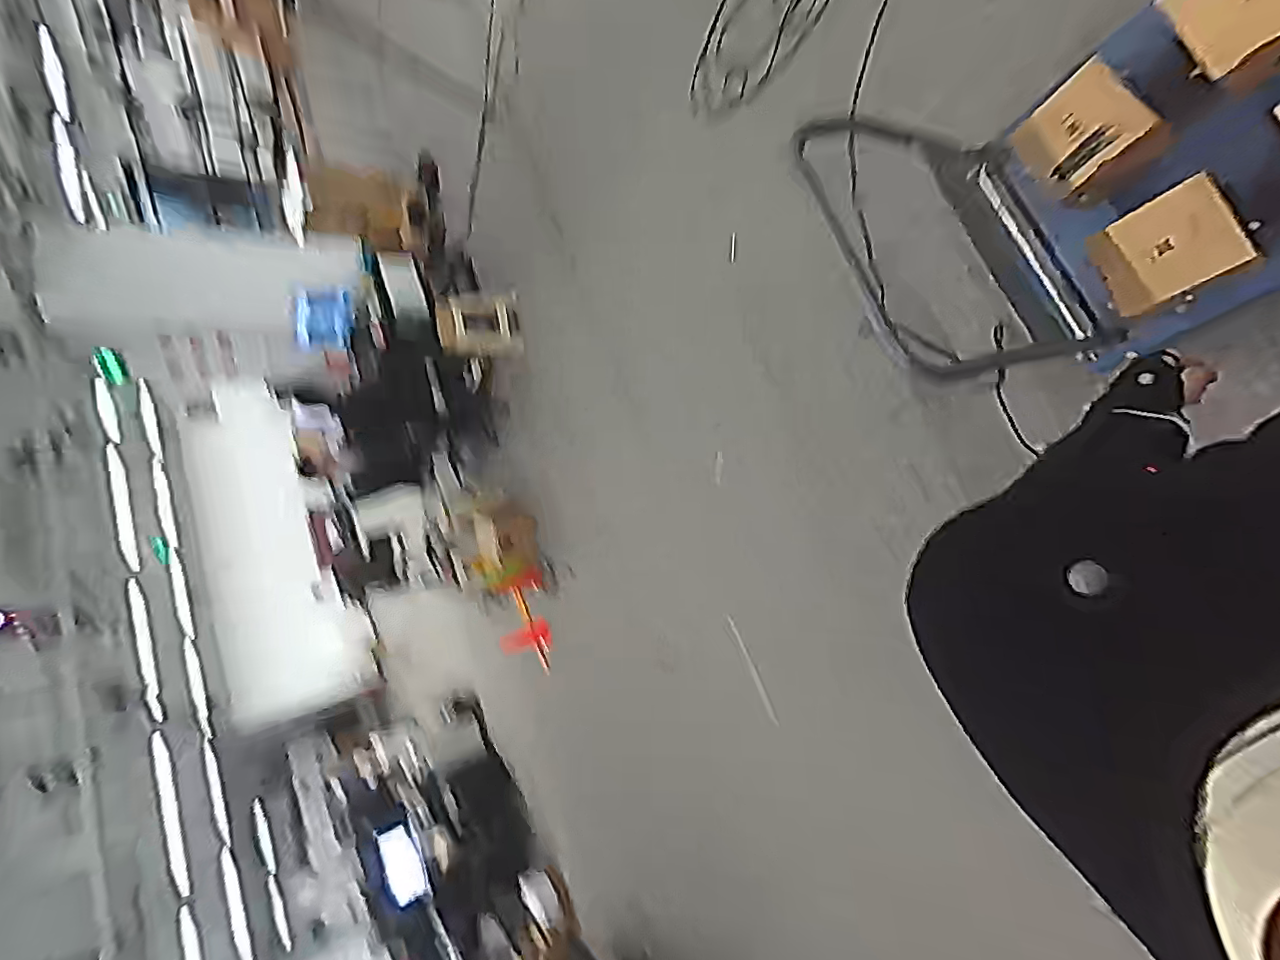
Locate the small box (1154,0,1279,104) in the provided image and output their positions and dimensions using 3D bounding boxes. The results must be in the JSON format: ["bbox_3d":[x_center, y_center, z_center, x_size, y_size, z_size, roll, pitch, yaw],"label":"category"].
[{"bbox_3d":[0.982,-0.748,0.864,0.168,0.176,0.179,-38,71,51],"label":"small box"}]

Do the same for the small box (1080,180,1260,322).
[{"bbox_3d":[0.963,-0.402,0.985,0.179,0.176,0.168,-34,73,51],"label":"small box"}]

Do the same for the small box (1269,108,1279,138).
[{"bbox_3d":[1.086,-0.518,0.785,0.168,0.176,0.179,-37,70,51],"label":"small box"}]
